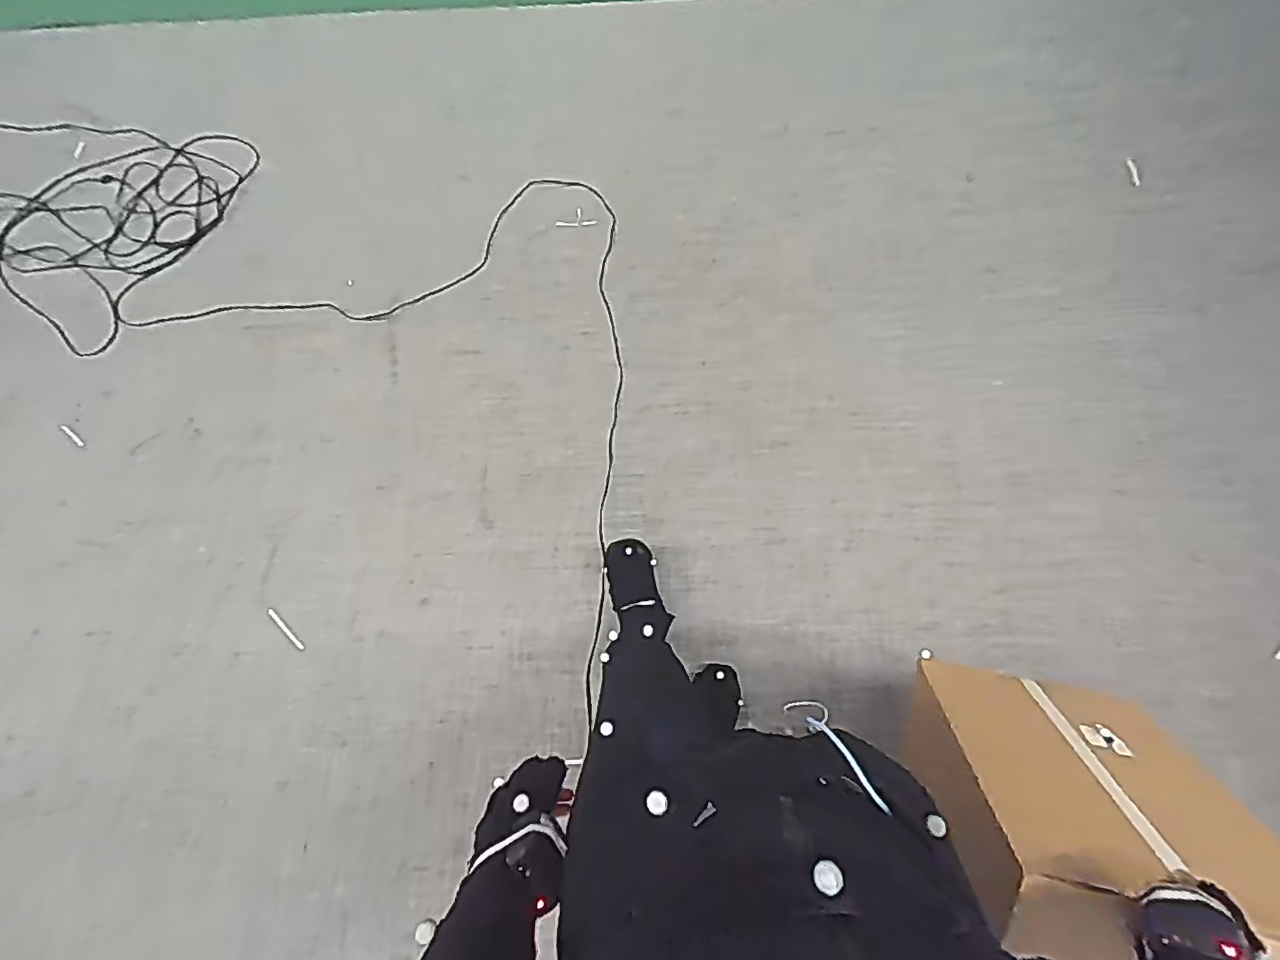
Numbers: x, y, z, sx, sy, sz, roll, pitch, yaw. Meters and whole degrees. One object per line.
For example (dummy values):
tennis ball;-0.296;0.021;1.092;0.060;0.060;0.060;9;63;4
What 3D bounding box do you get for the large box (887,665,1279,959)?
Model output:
large box;0.553;0.512;0.713;0.320;0.408;0.320;9;103;12
